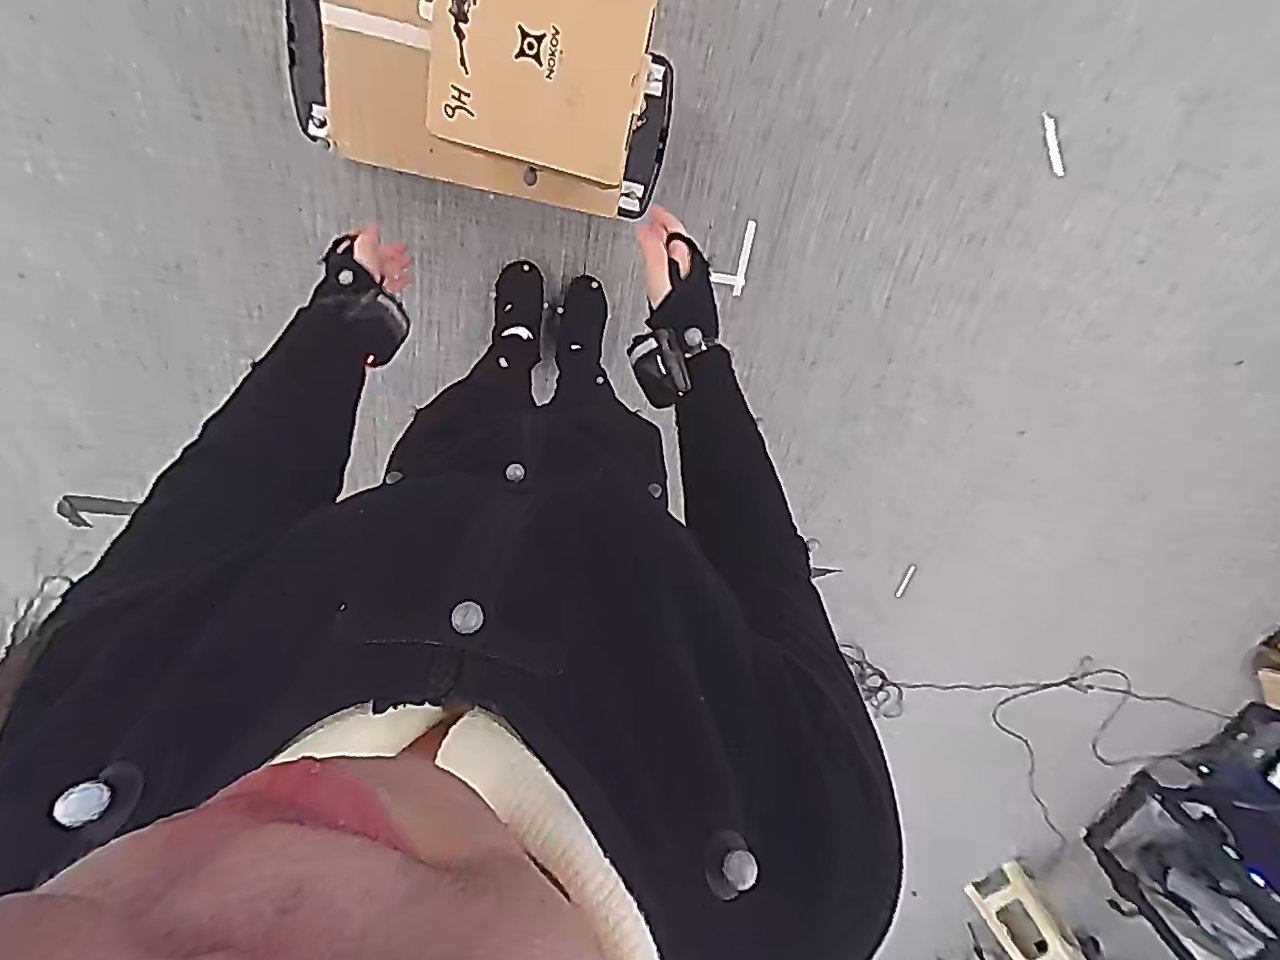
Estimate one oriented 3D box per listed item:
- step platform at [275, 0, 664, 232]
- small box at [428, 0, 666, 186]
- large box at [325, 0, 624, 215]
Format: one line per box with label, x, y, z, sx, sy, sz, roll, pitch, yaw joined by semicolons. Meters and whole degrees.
step platform;-0.299;-0.725;1.043;0.684;0.204;0.286;12;116;-14
small box;-0.089;-0.393;0.512;0.179;0.176;0.168;9;115;-14
large box;-0.213;-0.622;0.839;0.408;0.320;0.320;7;116;-11
